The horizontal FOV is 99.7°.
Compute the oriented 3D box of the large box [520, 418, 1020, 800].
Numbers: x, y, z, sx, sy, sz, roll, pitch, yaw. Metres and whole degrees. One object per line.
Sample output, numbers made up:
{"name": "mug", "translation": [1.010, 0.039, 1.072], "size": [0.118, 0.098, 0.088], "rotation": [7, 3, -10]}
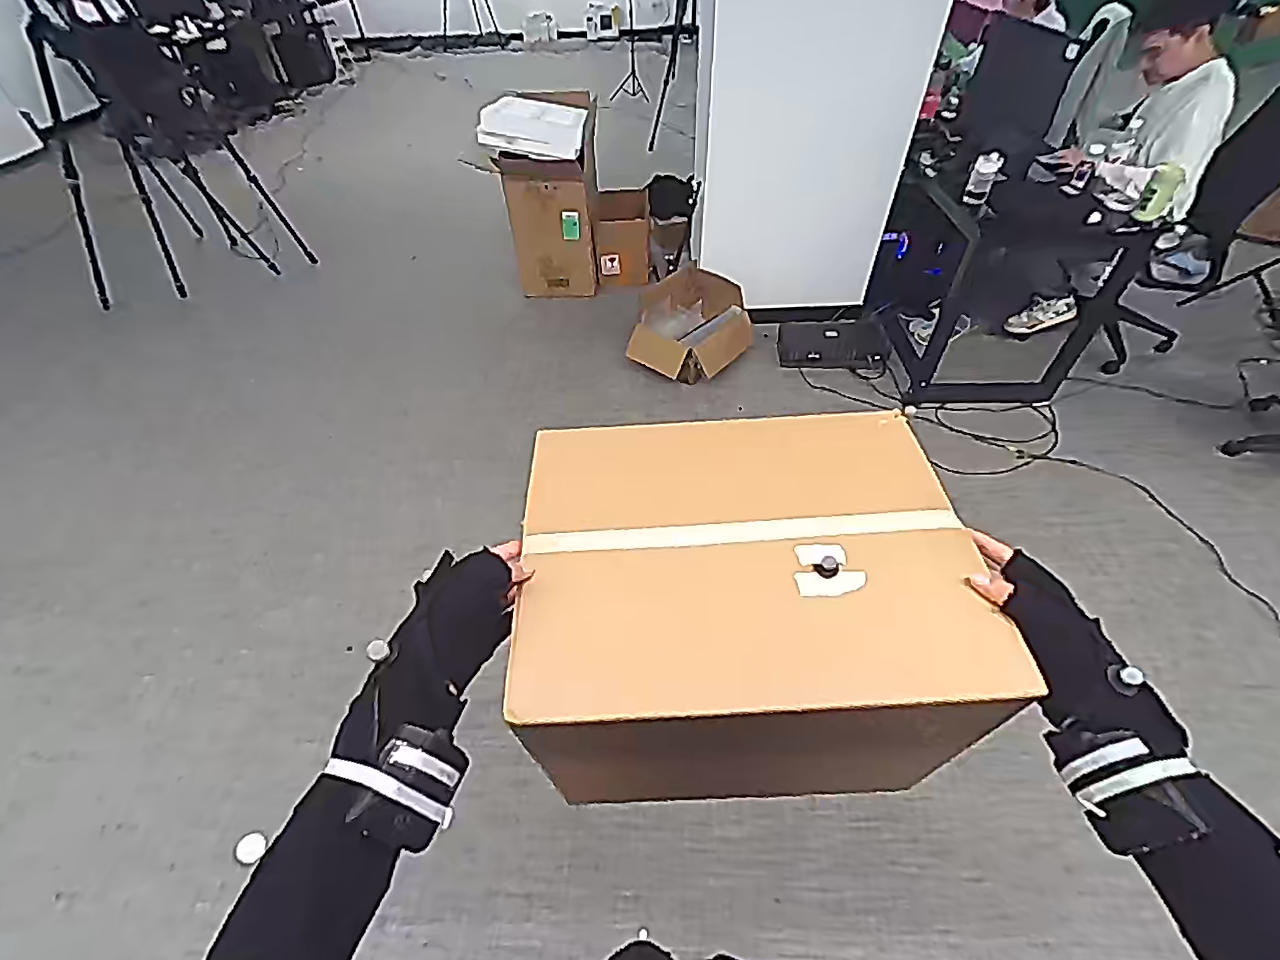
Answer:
{"name": "large box", "translation": [0.099, 0.155, 0.629], "size": [0.408, 0.320, 0.320], "rotation": [-3, 49, 0]}
